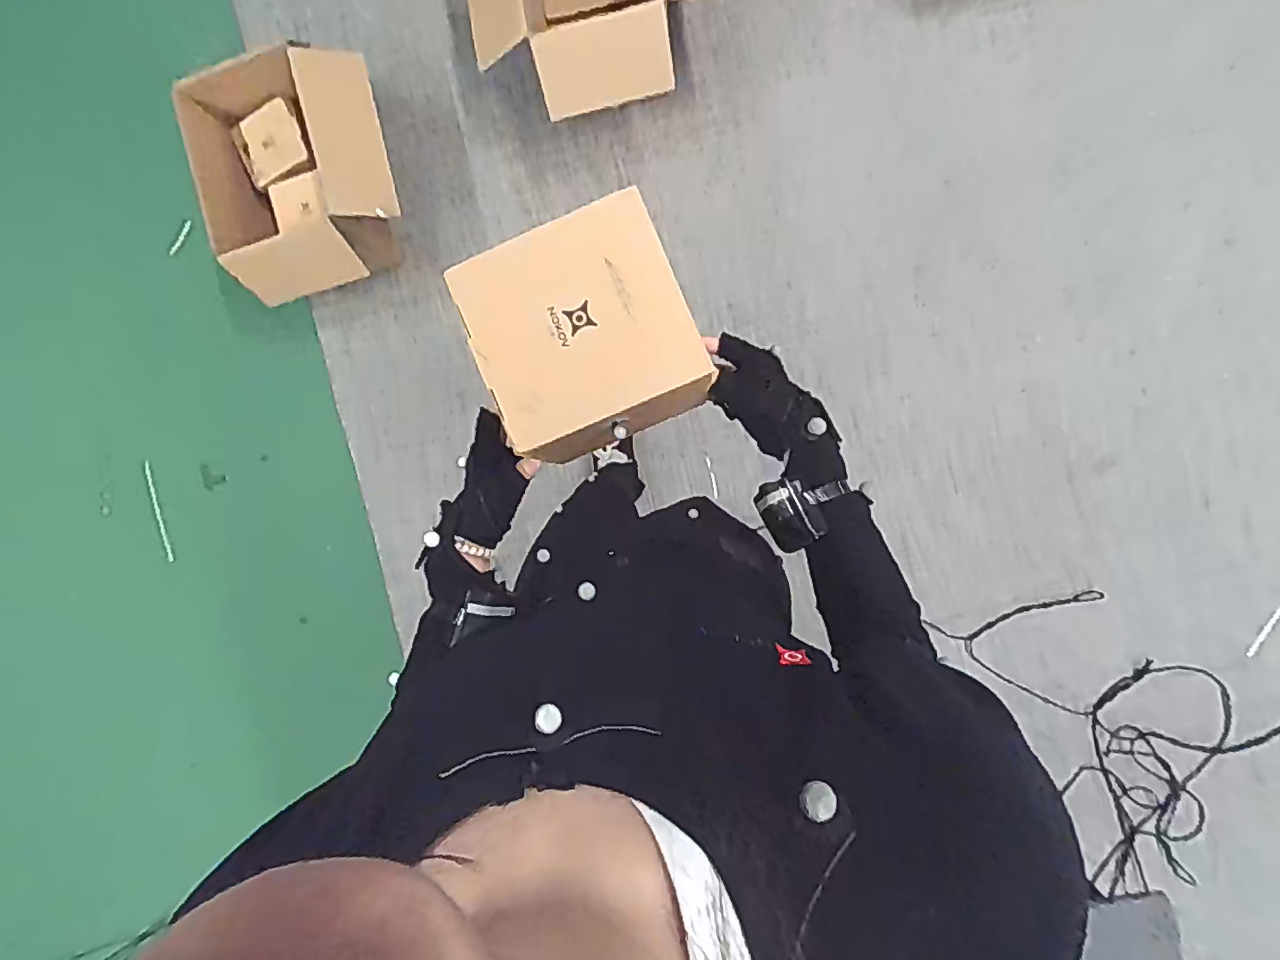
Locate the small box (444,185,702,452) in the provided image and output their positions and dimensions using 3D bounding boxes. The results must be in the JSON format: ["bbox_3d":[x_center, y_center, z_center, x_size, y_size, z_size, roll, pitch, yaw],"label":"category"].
[{"bbox_3d":[-0.049,-0.132,0.519,0.179,0.176,0.168,-22,88,4],"label":"small box"}]
